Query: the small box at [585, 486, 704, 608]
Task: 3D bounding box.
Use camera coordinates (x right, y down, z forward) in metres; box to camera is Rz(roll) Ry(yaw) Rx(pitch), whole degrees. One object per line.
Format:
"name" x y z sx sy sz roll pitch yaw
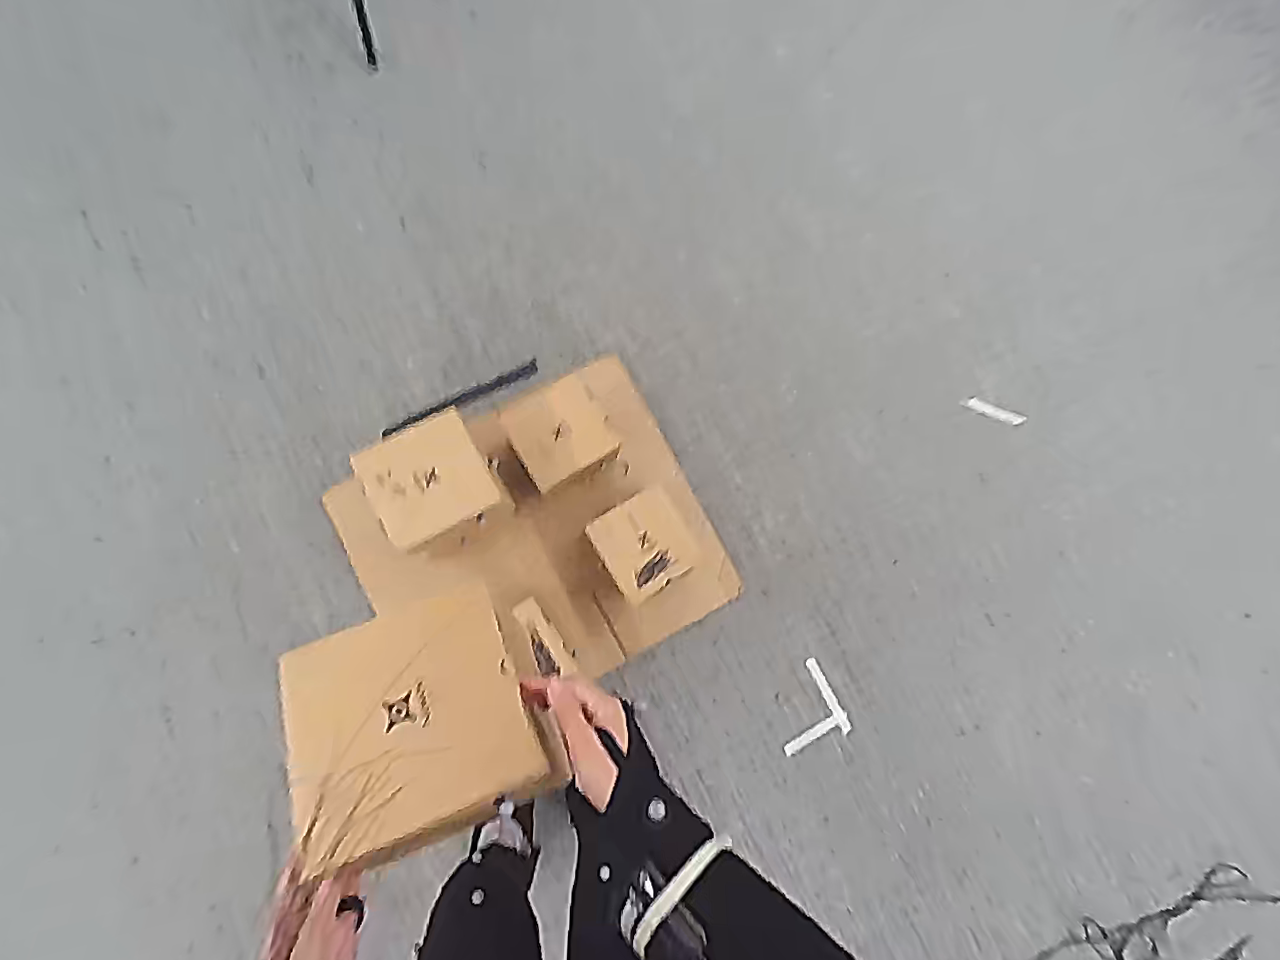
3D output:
"small box" 0.003 0.132 1.085 0.168 0.176 0.179 -31 86 -9

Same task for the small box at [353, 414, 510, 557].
"small box" -0.328 0.015 0.897 0.179 0.176 0.168 -28 85 -9

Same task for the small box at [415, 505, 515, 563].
"small box" -0.366 0.048 1.056 0.179 0.176 0.168 -32 87 -8

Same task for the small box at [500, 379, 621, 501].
"small box" -0.158 -0.074 1.099 0.179 0.176 0.168 -32 86 -9
